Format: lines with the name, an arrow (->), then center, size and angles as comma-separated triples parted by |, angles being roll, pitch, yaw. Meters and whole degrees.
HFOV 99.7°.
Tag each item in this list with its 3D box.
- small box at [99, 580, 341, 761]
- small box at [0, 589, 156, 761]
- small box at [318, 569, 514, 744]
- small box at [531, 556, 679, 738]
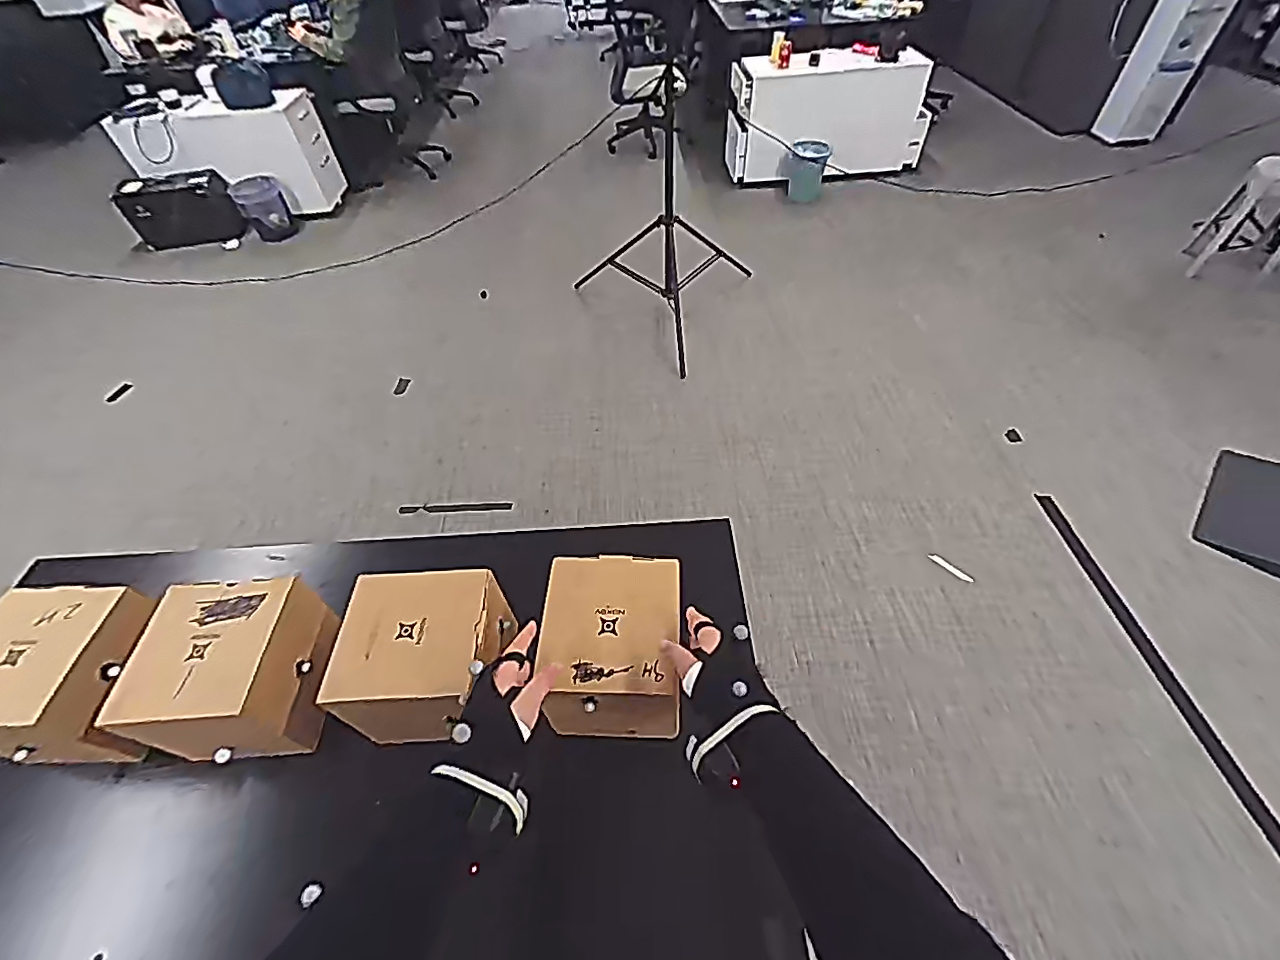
small box -> -0.522, 0.253, 0.713 | 0.168, 0.176, 0.179 | -4, 51, -1
small box -> -0.746, 0.263, 0.718 | 0.168, 0.176, 0.179 | -1, 50, 2
small box -> -0.274, 0.236, 0.715 | 0.179, 0.176, 0.168 | -5, 48, 1
small box -> -0.033, 0.219, 0.711 | 0.168, 0.176, 0.179 | 0, 49, 4
